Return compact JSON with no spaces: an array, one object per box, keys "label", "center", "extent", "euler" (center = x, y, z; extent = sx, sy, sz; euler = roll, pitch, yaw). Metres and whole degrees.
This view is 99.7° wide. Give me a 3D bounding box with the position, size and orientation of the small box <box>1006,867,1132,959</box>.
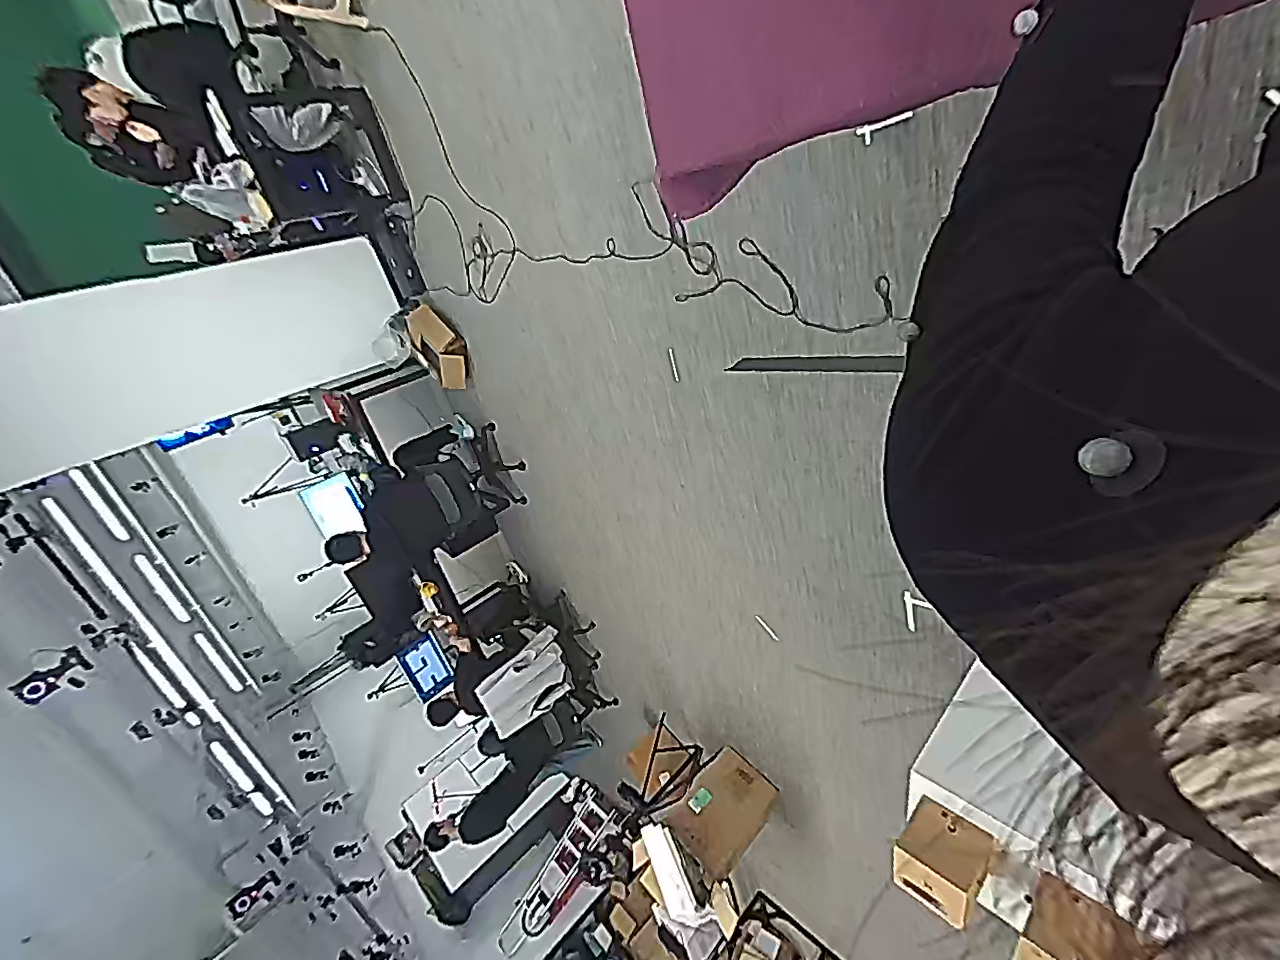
[{"label":"small box","center":[0.926,1.001,1.171],"extent":[0.168,0.176,0.179],"euler":[20,134,44]}]
